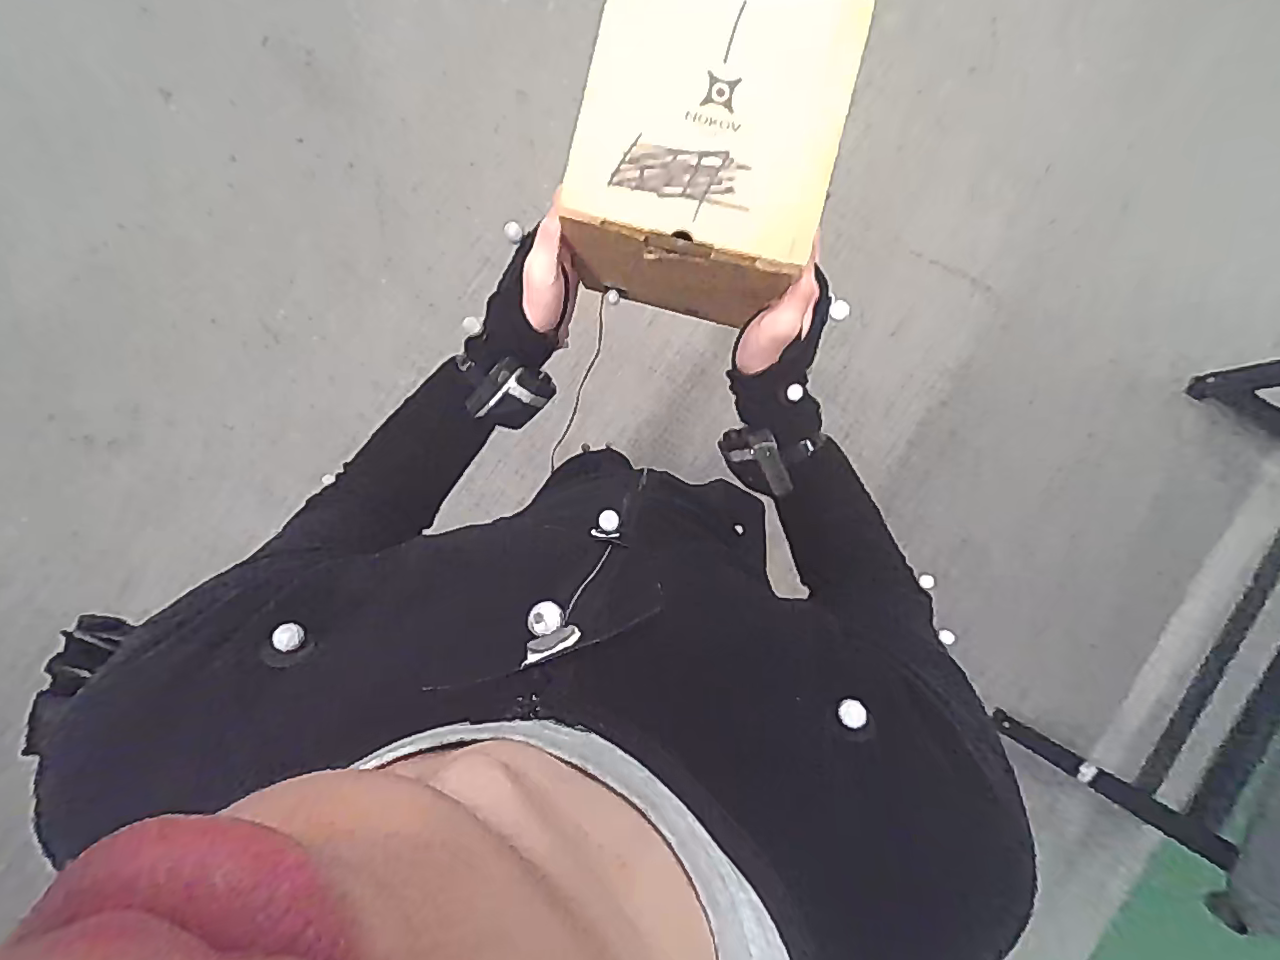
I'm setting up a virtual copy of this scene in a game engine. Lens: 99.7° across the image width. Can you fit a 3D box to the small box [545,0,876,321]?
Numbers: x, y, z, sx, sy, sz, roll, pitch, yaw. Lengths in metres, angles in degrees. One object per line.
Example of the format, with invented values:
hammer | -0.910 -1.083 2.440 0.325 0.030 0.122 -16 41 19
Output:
small box | 0.042 -0.235 0.406 0.168 0.176 0.179 15 95 0
